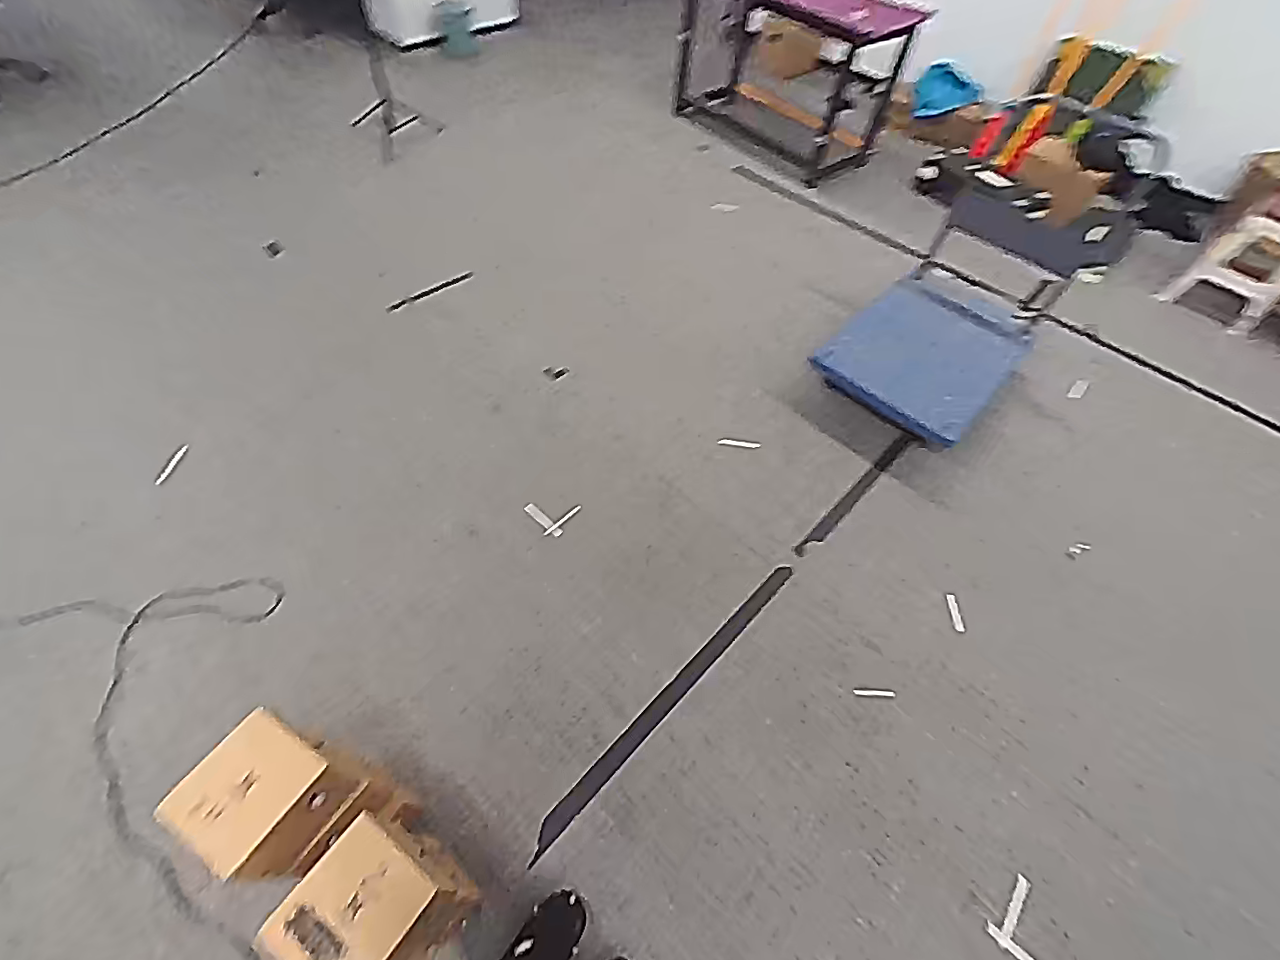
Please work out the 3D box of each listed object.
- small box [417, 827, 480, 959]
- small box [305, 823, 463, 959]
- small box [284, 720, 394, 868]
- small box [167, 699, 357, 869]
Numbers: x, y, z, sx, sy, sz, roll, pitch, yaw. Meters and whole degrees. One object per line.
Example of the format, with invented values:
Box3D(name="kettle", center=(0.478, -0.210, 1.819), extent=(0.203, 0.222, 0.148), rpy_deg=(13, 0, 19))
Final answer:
Box3D(name="small box", center=(-0.441, 0.837, 1.084), extent=(0.168, 0.176, 0.179), rpy_deg=(38, 60, 20))
Box3D(name="small box", center=(-0.432, 0.745, 0.948), extent=(0.168, 0.176, 0.179), rpy_deg=(34, 58, 18))
Box3D(name="small box", center=(-0.609, 0.601, 1.032), extent=(0.168, 0.176, 0.179), rpy_deg=(32, 57, 16))
Box3D(name="small box", center=(-0.605, 0.505, 0.898), extent=(0.168, 0.176, 0.179), rpy_deg=(29, 57, 15))
